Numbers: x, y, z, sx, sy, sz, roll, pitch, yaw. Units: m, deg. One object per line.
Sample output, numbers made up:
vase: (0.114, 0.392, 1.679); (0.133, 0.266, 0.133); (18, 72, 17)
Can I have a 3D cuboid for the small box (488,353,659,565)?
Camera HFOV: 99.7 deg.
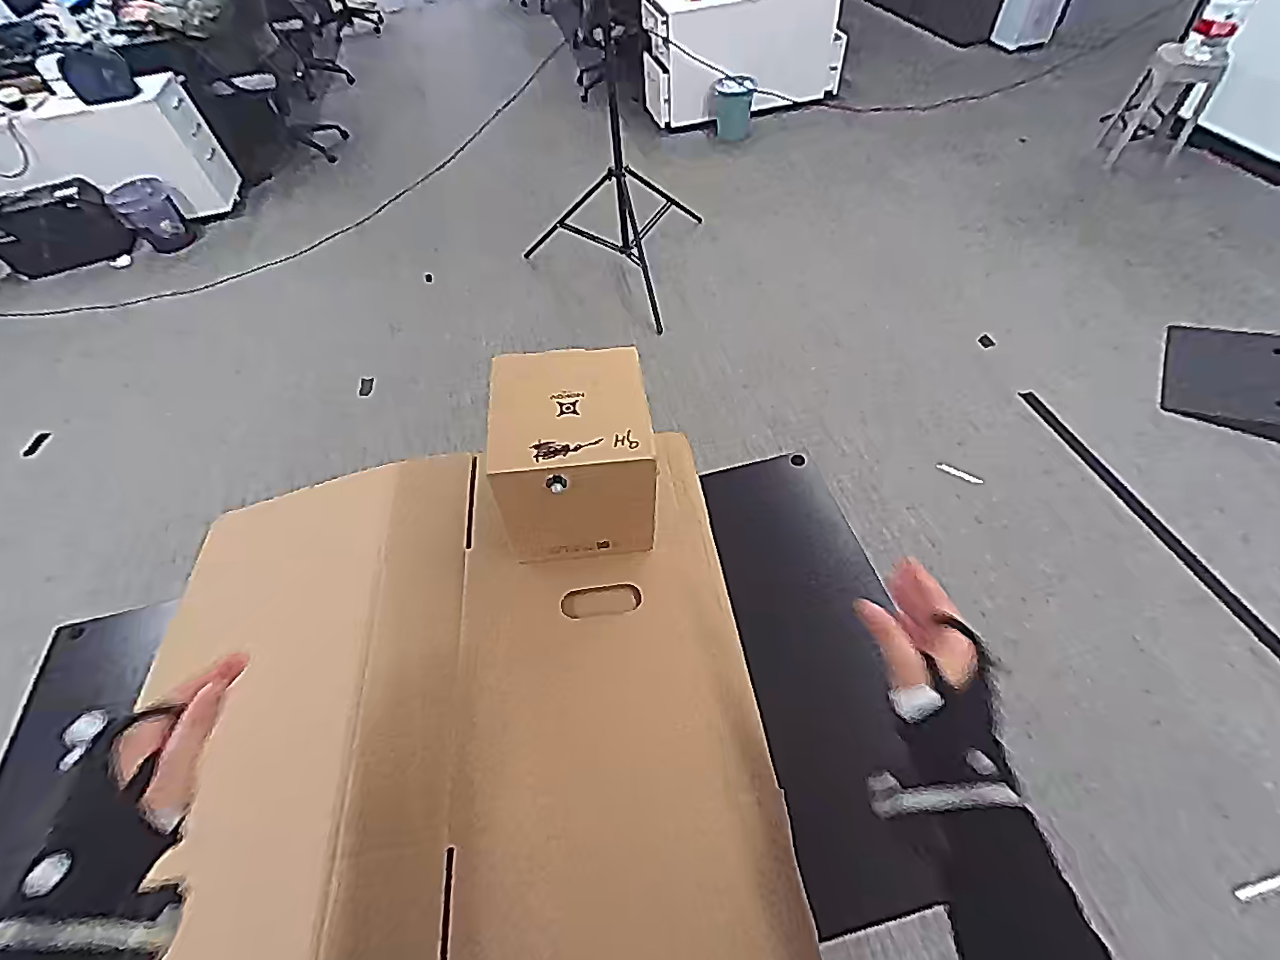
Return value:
small box: (-0.072, -0.024, 0.629); (0.168, 0.176, 0.179); (-6, 51, -4)
